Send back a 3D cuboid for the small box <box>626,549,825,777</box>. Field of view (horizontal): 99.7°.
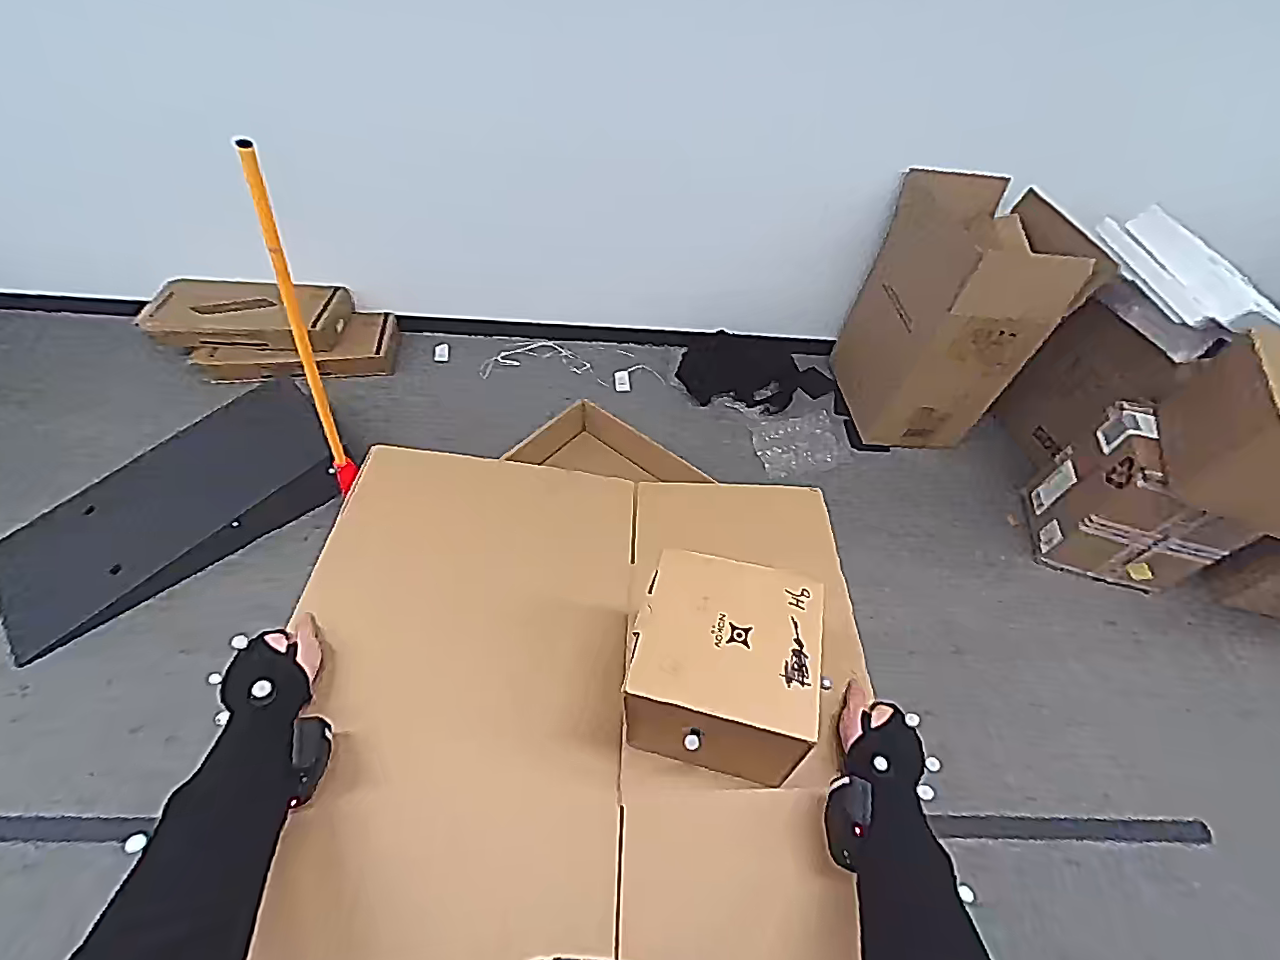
[{"bbox_3d":[0.093,0.203,0.595,0.179,0.176,0.168,10,50,11],"label":"small box"}]
